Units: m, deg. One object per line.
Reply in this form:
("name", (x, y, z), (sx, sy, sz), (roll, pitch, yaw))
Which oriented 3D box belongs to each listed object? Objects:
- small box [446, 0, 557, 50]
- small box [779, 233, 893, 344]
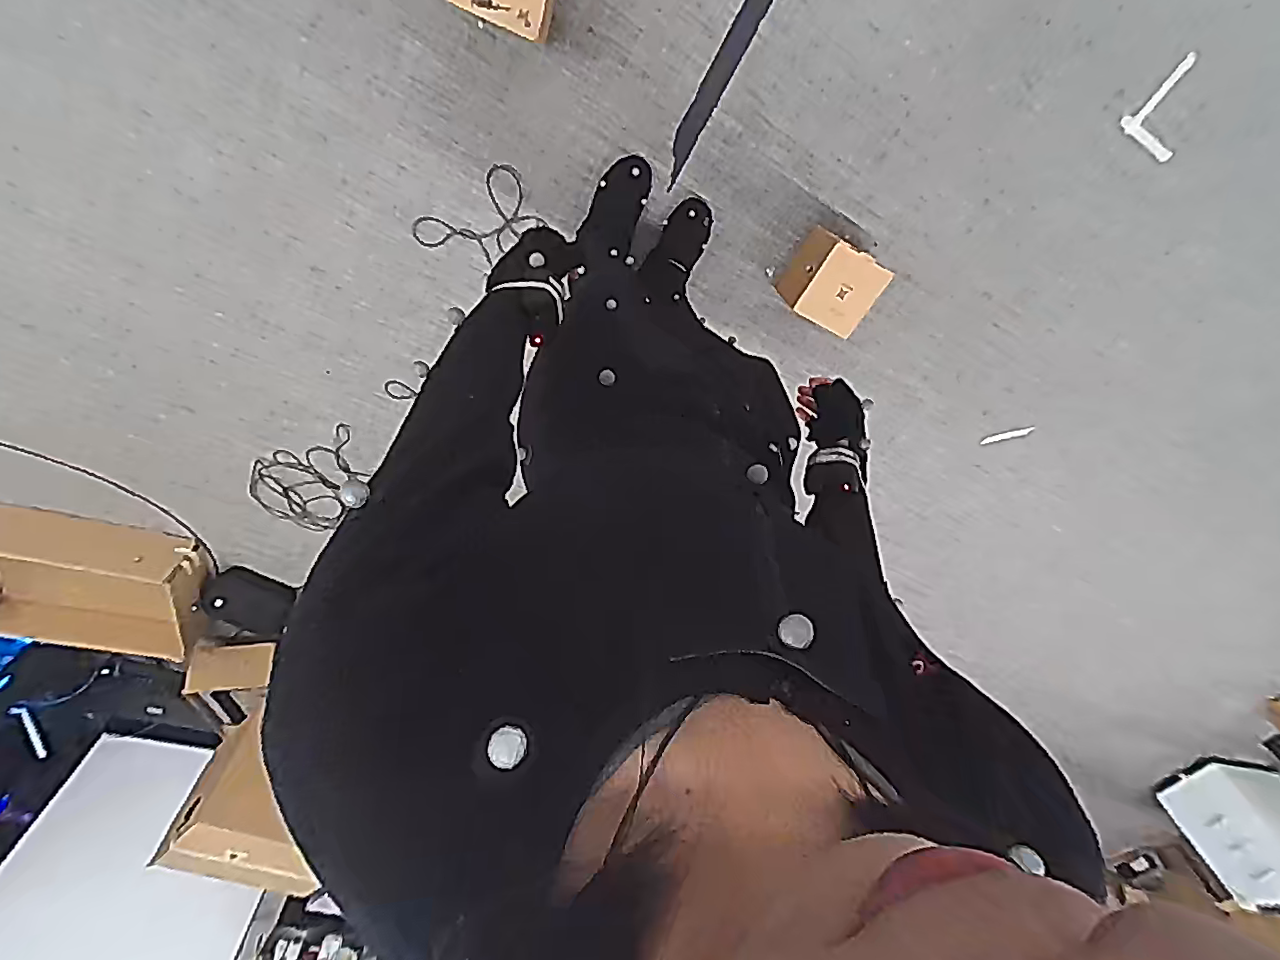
("small box", (-0.229, -0.892, 0.944), (0.168, 0.176, 0.179), (16, 122, -14))
("small box", (0.458, -0.464, 1.298), (0.168, 0.176, 0.179), (22, 122, -17))
